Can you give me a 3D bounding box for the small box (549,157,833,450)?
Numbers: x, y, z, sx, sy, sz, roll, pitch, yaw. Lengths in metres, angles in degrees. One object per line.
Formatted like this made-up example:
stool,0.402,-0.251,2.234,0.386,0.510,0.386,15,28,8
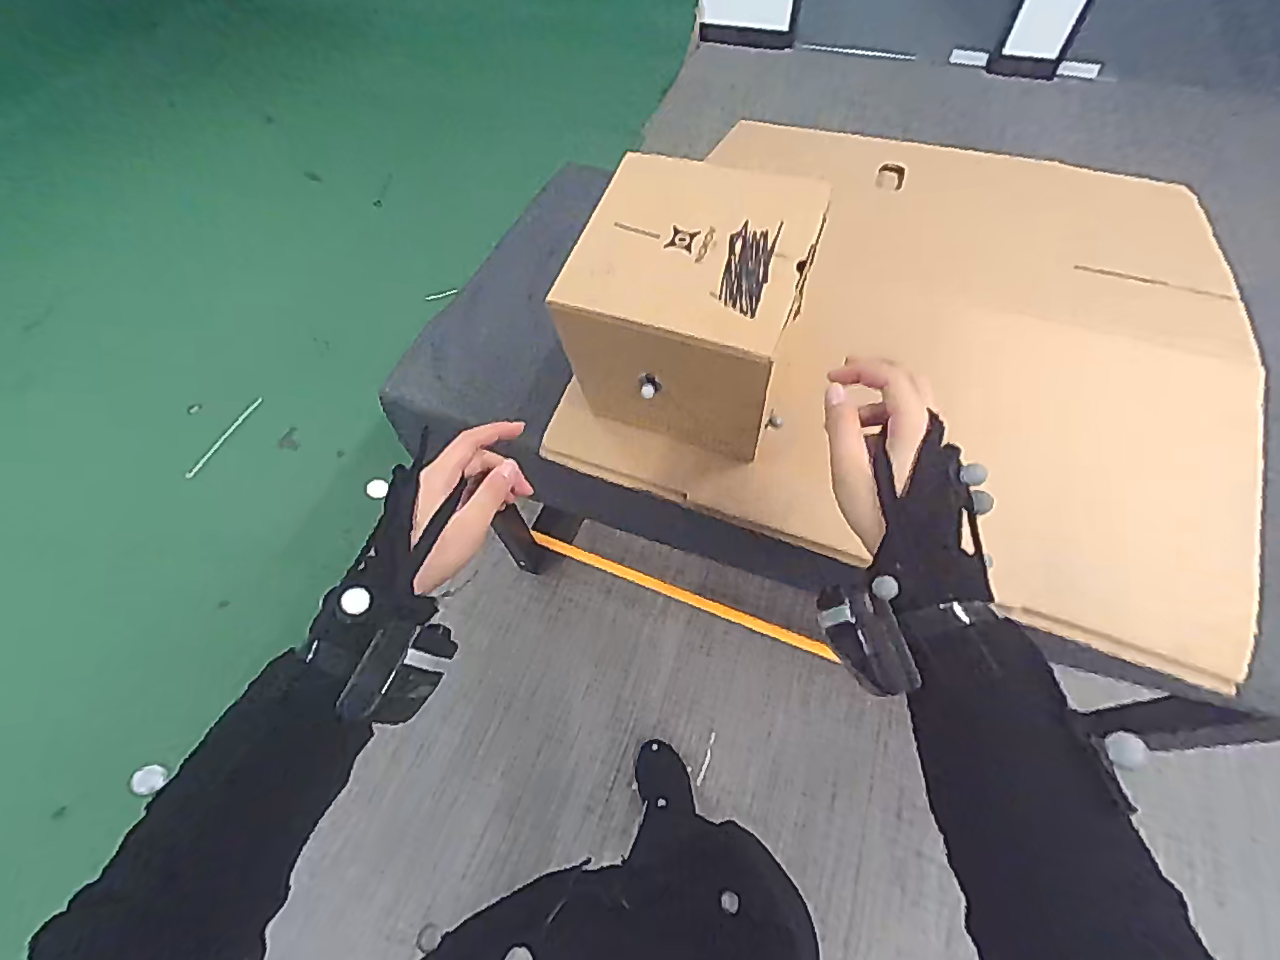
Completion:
small box,0.049,-0.145,0.485,0.179,0.176,0.168,18,71,15
